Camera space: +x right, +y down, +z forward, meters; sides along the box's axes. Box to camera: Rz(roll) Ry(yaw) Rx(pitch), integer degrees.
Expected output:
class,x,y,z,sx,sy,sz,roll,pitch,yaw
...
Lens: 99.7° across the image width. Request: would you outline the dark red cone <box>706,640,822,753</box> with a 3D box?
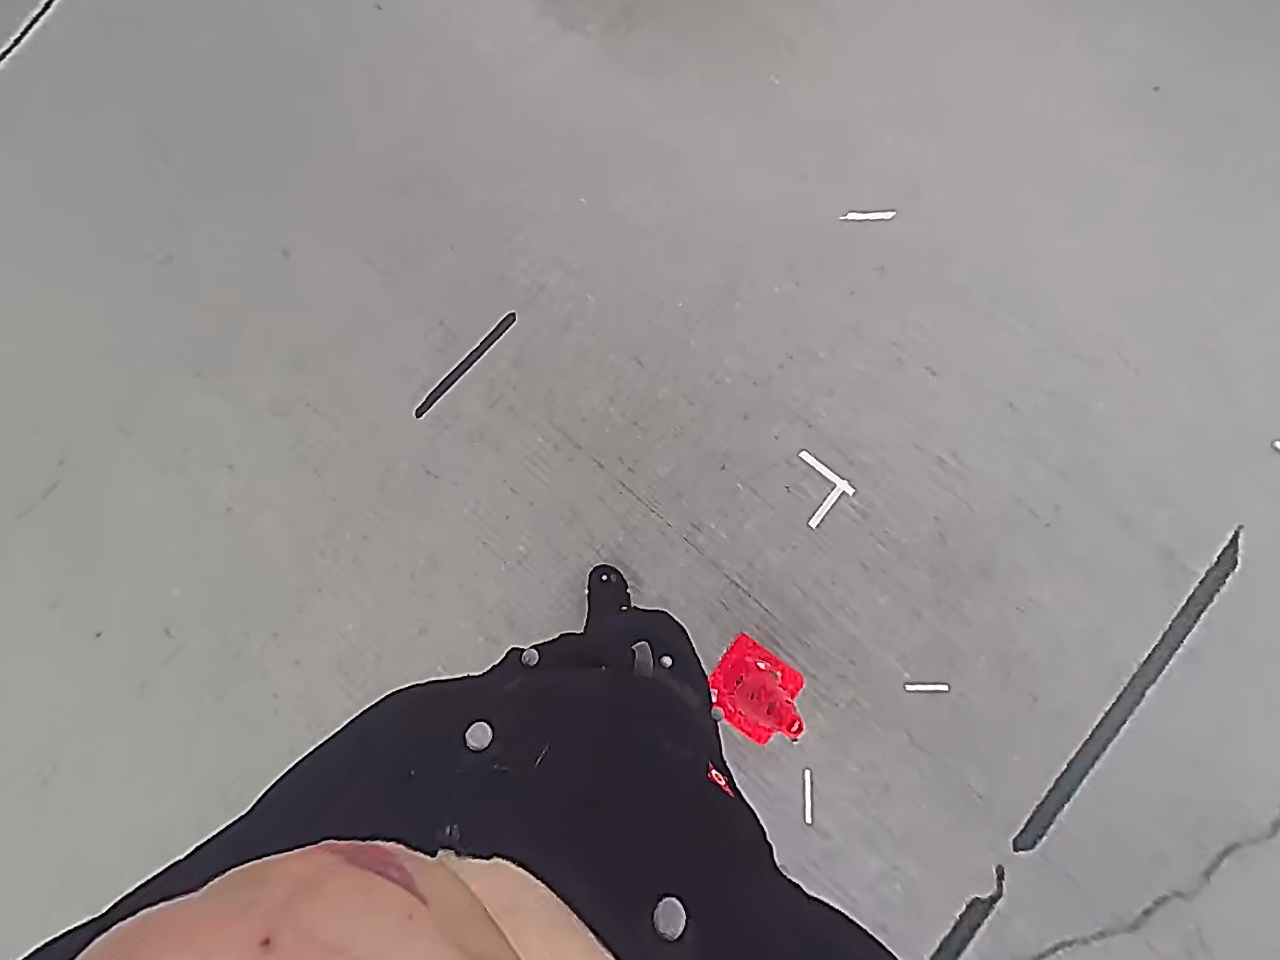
class,x,y,z,sx,sy,sz,roll,pitch,yaw
dark red cone,0.286,0.479,1.120,0.201,0.394,0.202,34,81,4
